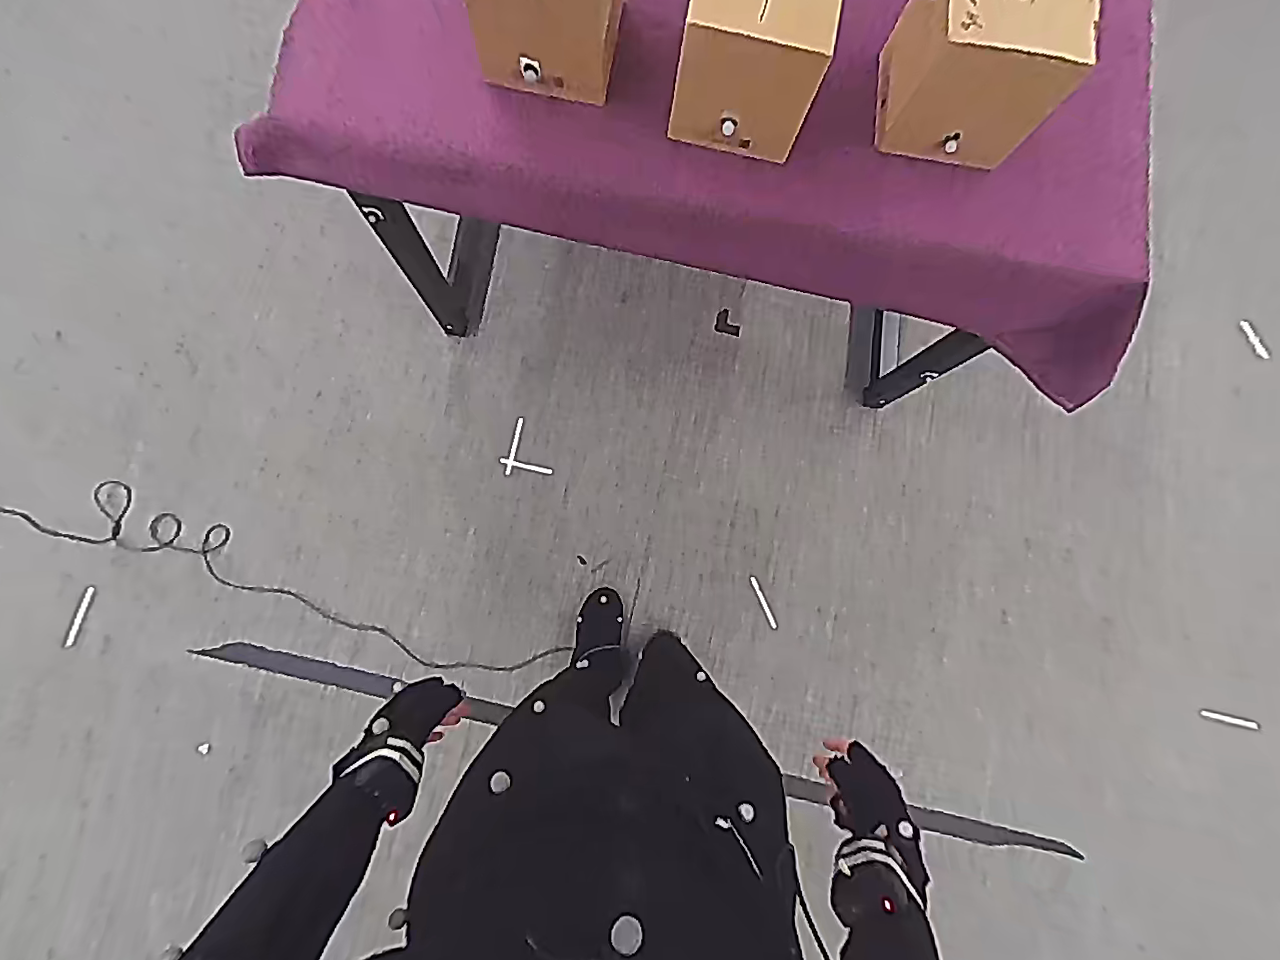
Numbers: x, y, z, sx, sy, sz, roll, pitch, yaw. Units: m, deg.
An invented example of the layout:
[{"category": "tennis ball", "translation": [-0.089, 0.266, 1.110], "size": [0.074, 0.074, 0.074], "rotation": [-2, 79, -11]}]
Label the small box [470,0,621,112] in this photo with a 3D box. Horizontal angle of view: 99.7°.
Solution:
[{"category": "small box", "translation": [-0.113, -0.613, 0.676], "size": [0.168, 0.176, 0.179], "rotation": [8, 81, -2]}]

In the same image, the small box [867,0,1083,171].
[{"category": "small box", "translation": [0.424, -0.539, 0.703], "size": [0.179, 0.176, 0.168], "rotation": [7, 80, -3]}]

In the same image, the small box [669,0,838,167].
[{"category": "small box", "translation": [0.136, -0.543, 0.682], "size": [0.168, 0.176, 0.179], "rotation": [11, 81, -2]}]
